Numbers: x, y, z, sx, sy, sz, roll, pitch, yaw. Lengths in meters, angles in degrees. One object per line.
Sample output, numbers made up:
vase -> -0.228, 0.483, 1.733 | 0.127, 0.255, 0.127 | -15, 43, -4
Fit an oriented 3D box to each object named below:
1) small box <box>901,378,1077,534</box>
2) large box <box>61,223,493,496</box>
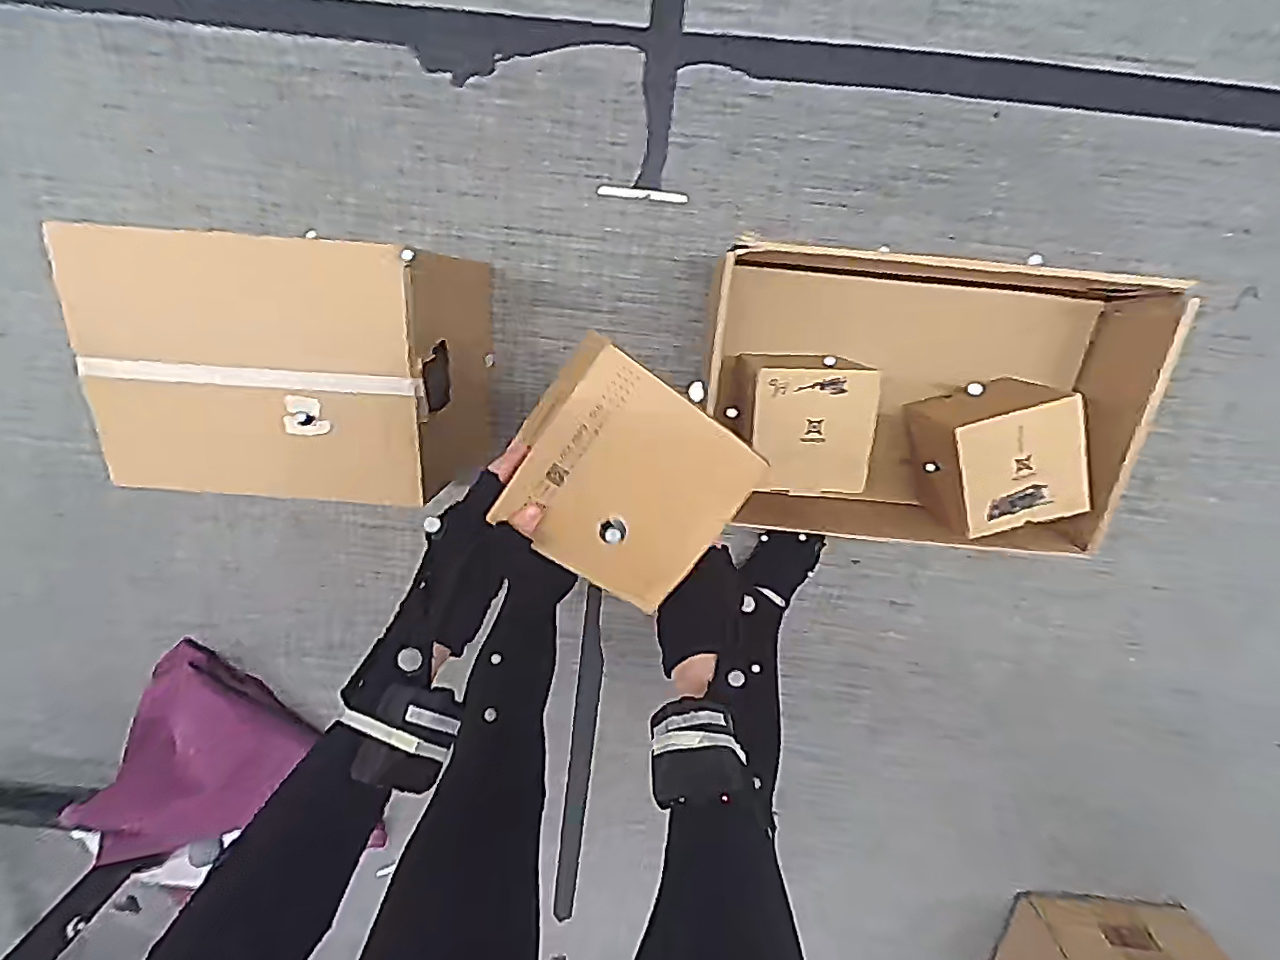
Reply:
small box -> 0.527, -0.044, 0.834 | 0.168, 0.176, 0.179 | -16, 107, 7
large box -> -0.457, -0.177, 0.790 | 0.408, 0.320, 0.320 | 3, 109, 0
